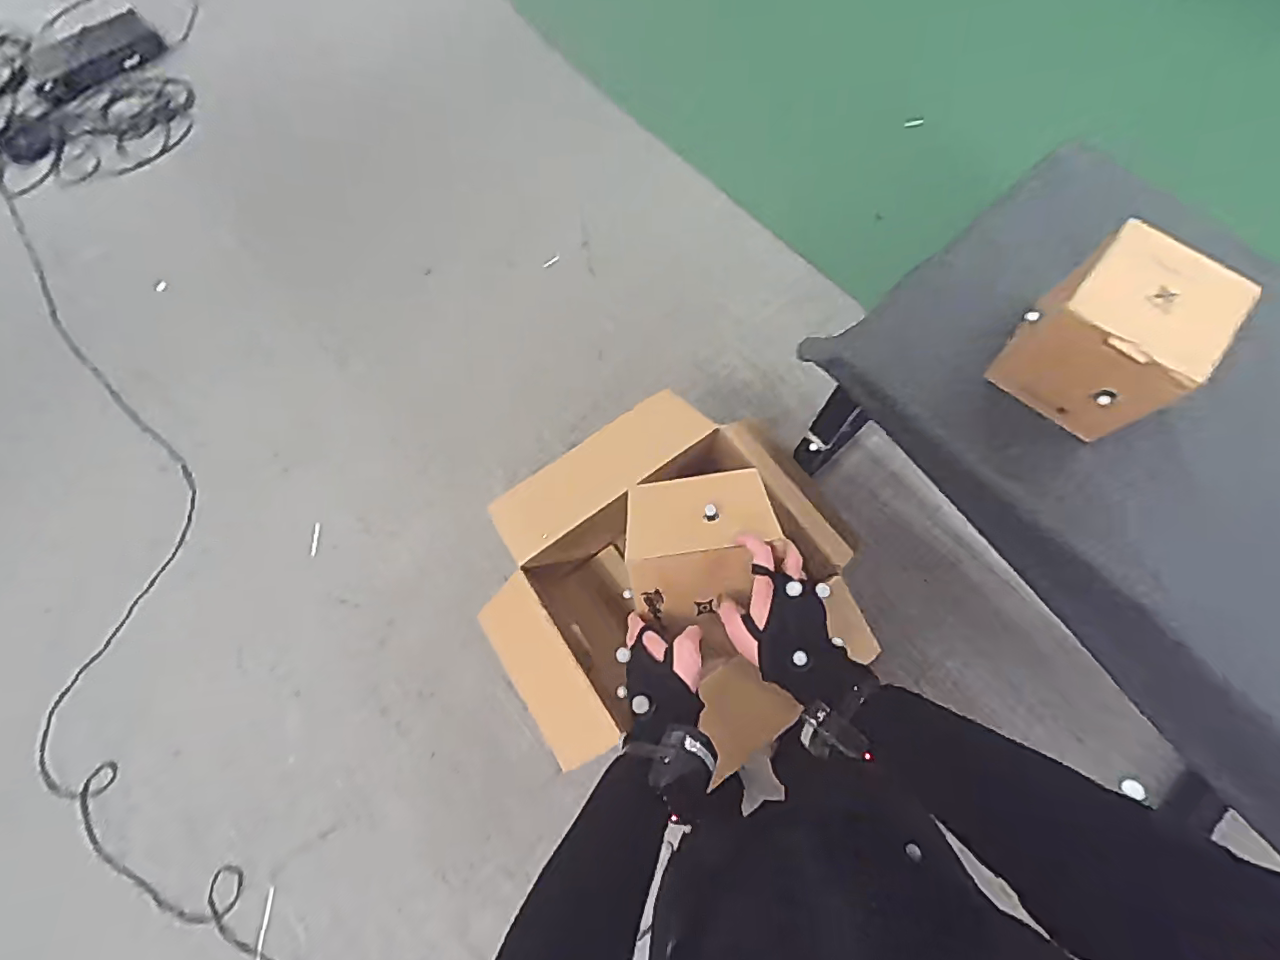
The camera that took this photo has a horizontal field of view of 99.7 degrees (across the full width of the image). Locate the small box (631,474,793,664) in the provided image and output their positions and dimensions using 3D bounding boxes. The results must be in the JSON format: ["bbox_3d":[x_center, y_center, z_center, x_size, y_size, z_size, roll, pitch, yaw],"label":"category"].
[{"bbox_3d":[0.086,0.105,0.689,0.179,0.168,0.176,-8,28,5],"label":"small box"}]

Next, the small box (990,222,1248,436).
[{"bbox_3d":[0.611,-0.188,0.717,0.168,0.176,0.179,38,75,11],"label":"small box"}]
